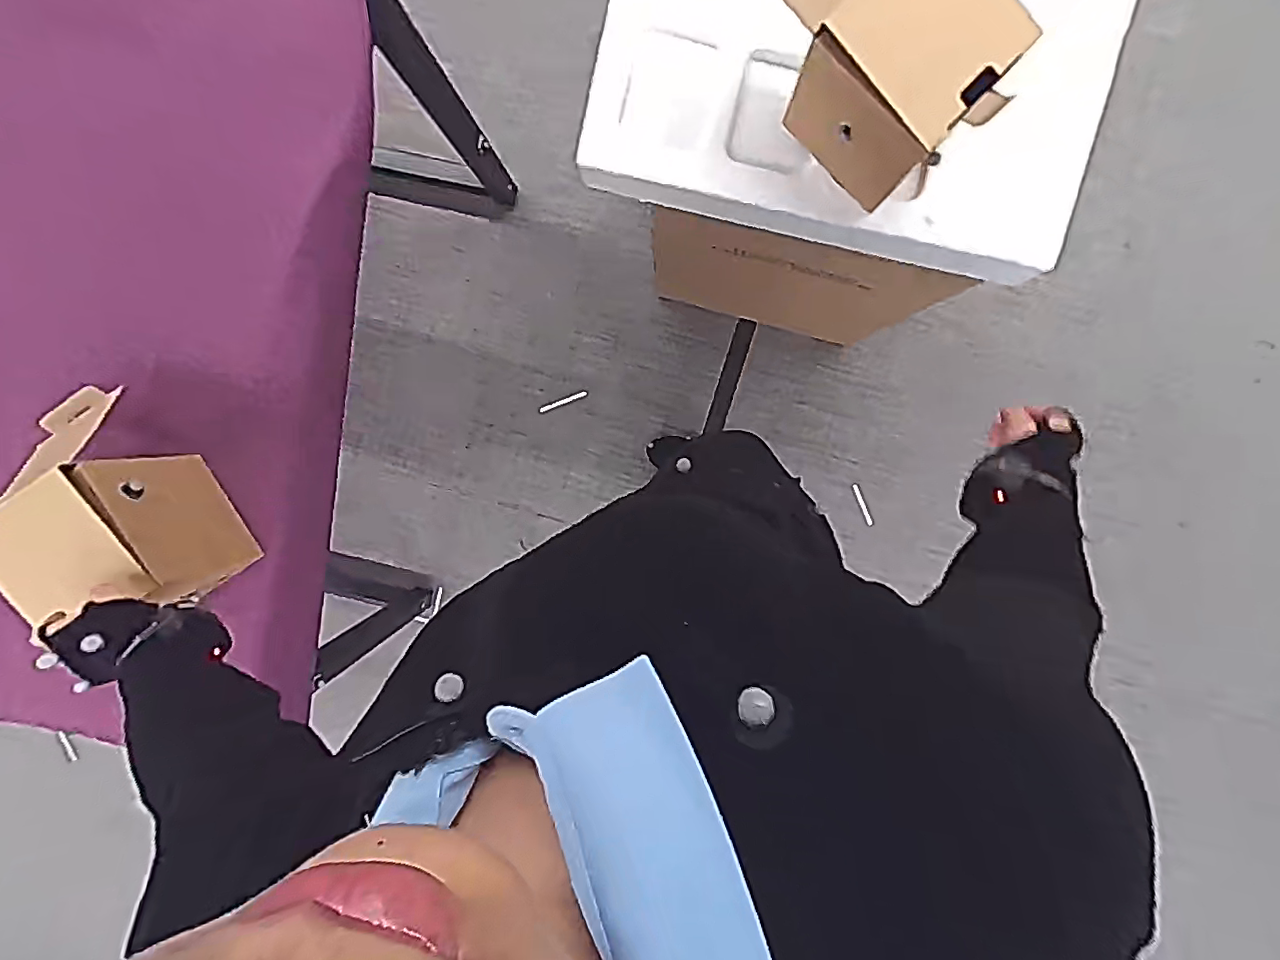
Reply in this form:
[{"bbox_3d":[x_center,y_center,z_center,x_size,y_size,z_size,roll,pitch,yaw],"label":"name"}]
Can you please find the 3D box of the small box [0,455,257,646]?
[{"bbox_3d":[-0.671,0.080,0.715,0.168,0.176,0.179,-31,92,7],"label":"small box"}]
